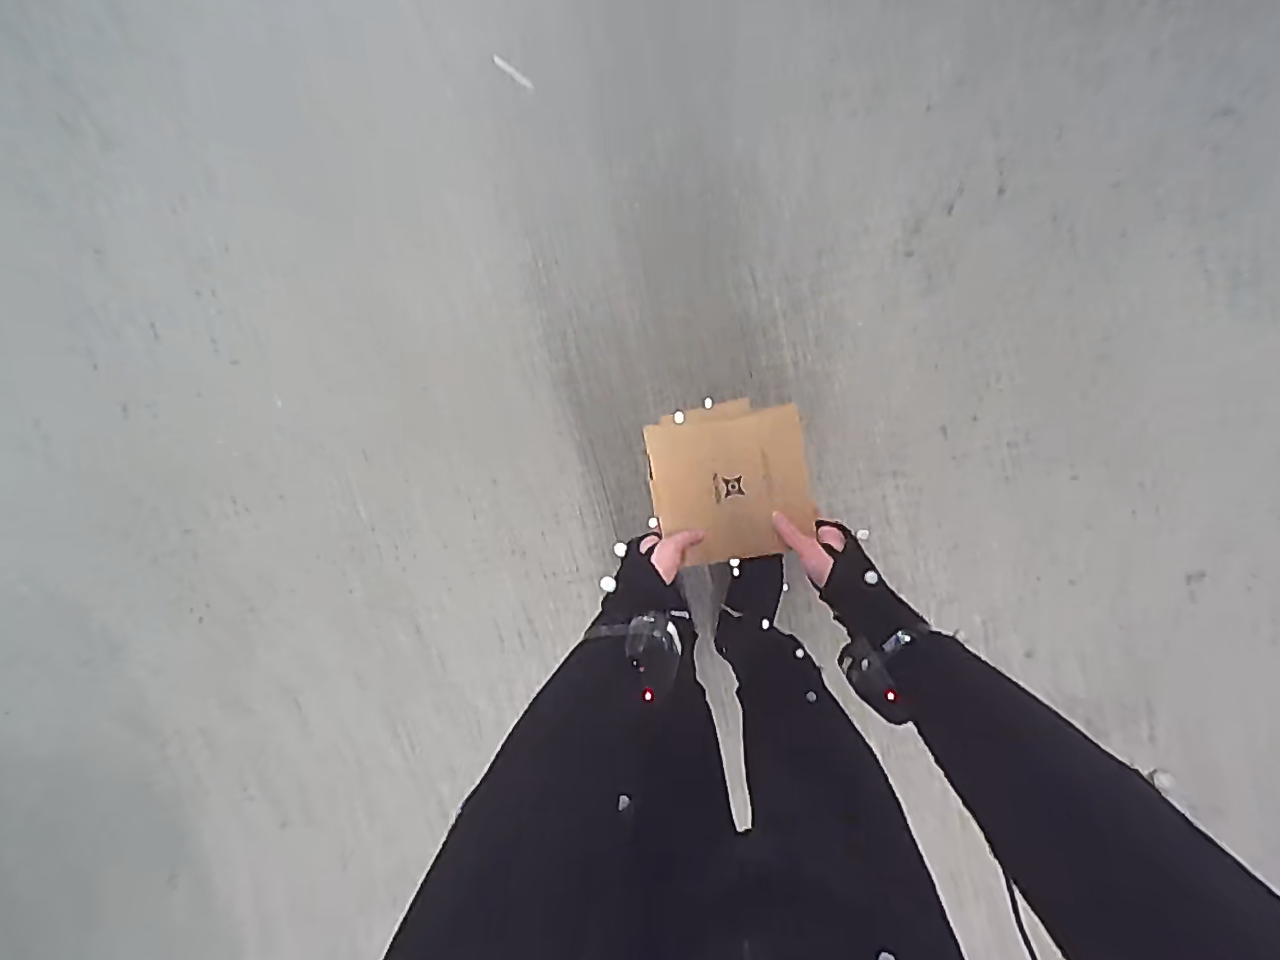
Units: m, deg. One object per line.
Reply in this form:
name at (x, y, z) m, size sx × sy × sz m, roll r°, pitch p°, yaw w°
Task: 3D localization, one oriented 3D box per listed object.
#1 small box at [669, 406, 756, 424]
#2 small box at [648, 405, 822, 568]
small box at (0.154, -0.056, 1.126) m, size 0.179 × 0.176 × 0.168 m, roll -12°, pitch 94°, yaw 3°
small box at (0.111, 0.007, 0.687) m, size 0.179 × 0.176 × 0.168 m, roll -9°, pitch 91°, yaw 2°
